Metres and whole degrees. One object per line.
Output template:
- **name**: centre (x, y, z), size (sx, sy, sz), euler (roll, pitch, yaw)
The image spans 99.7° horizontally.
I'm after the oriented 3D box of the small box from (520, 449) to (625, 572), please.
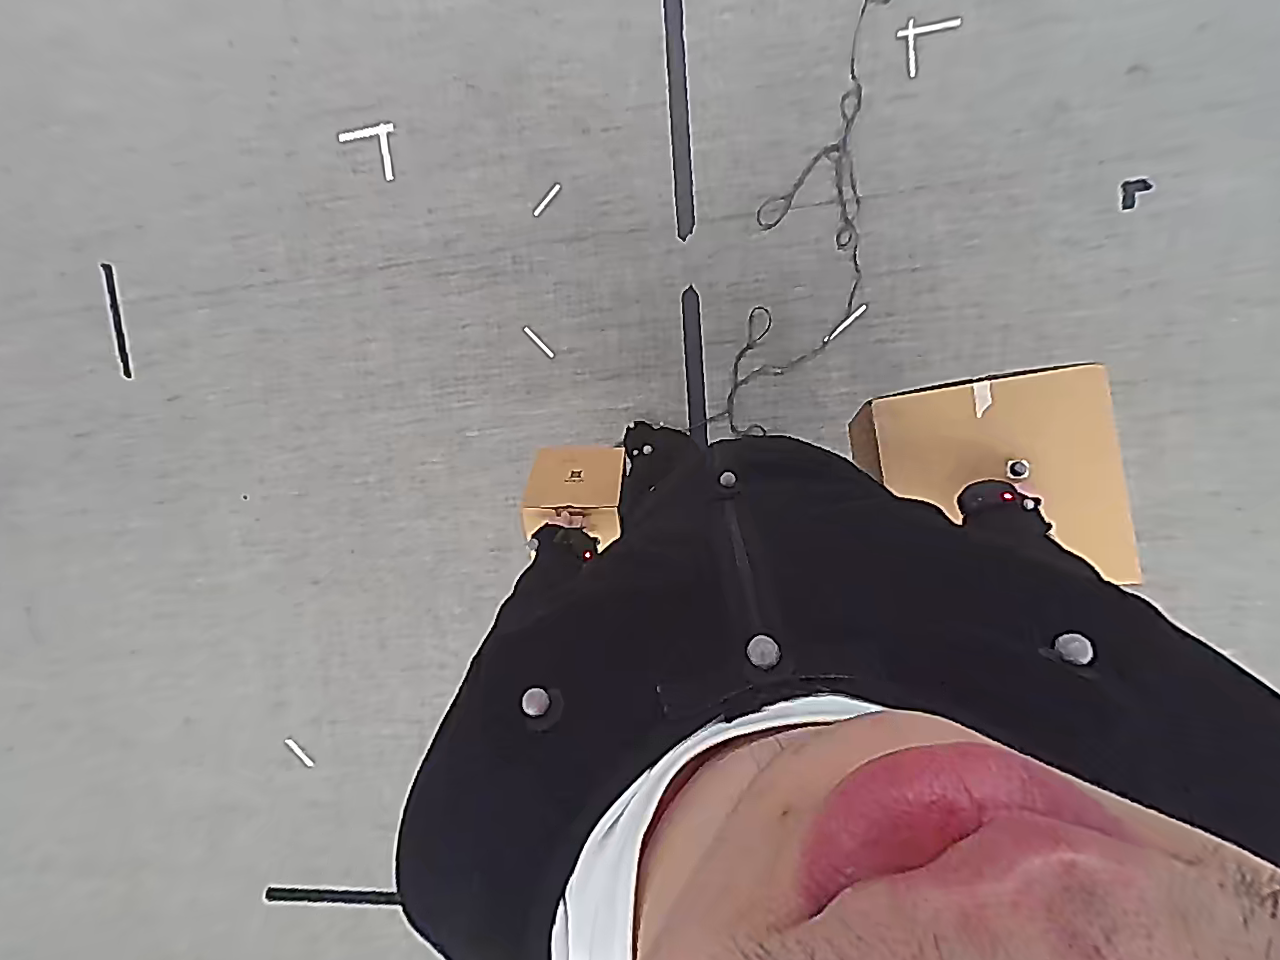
- **small box**: centre (-0.115, 0.058, 1.014), size (0.168, 0.179, 0.176), euler (0, 127, 1)
